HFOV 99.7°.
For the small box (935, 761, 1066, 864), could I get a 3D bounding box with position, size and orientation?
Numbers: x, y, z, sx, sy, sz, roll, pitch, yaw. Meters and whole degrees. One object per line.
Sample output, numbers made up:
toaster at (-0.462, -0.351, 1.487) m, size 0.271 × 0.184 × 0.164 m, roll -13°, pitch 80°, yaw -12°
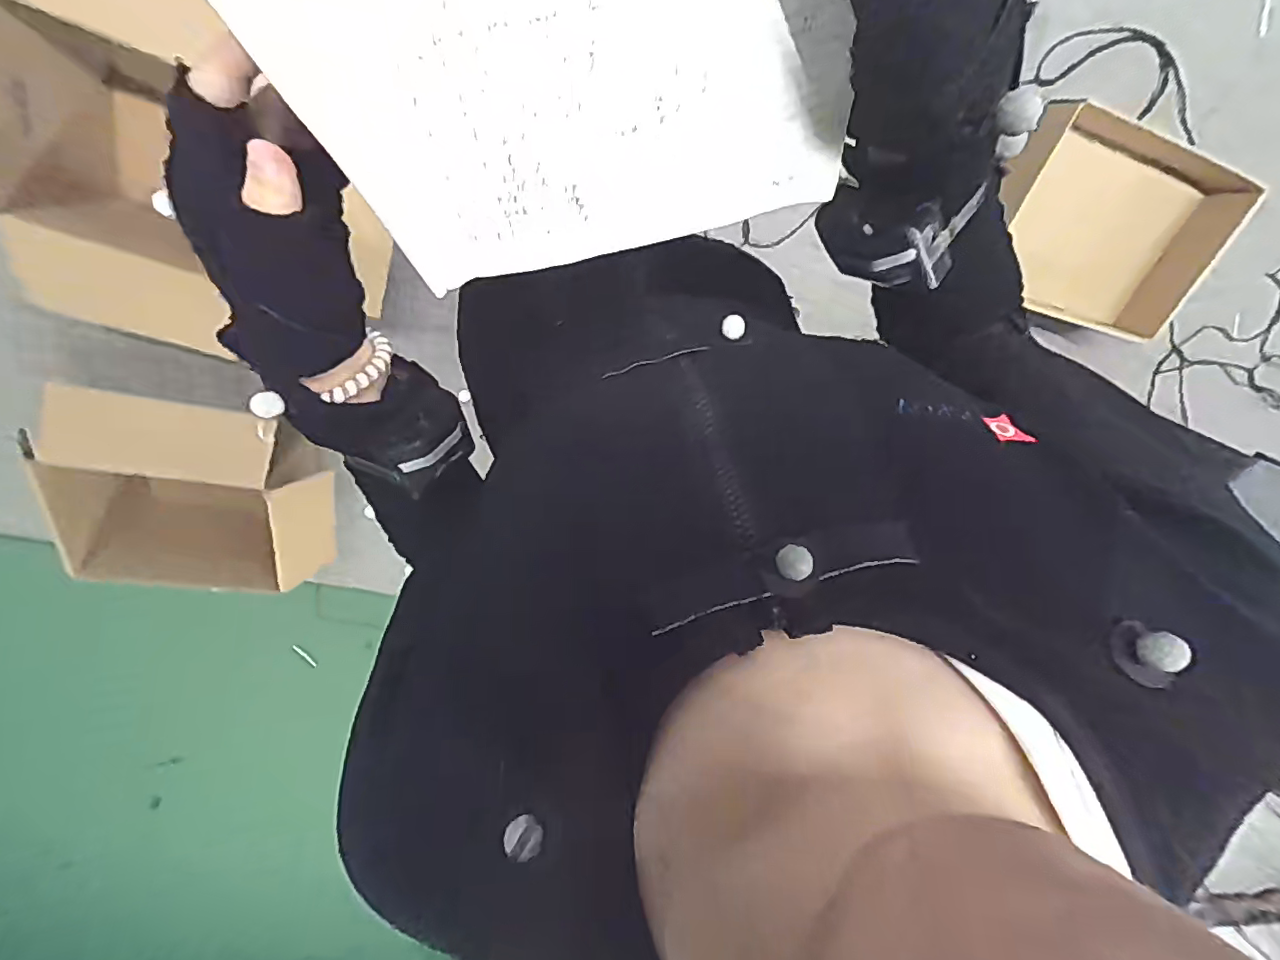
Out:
small box at (0.899, 0.835, 1.363) m, size 0.179 × 0.176 × 0.168 m, roll 16°, pitch 117°, yaw -20°
